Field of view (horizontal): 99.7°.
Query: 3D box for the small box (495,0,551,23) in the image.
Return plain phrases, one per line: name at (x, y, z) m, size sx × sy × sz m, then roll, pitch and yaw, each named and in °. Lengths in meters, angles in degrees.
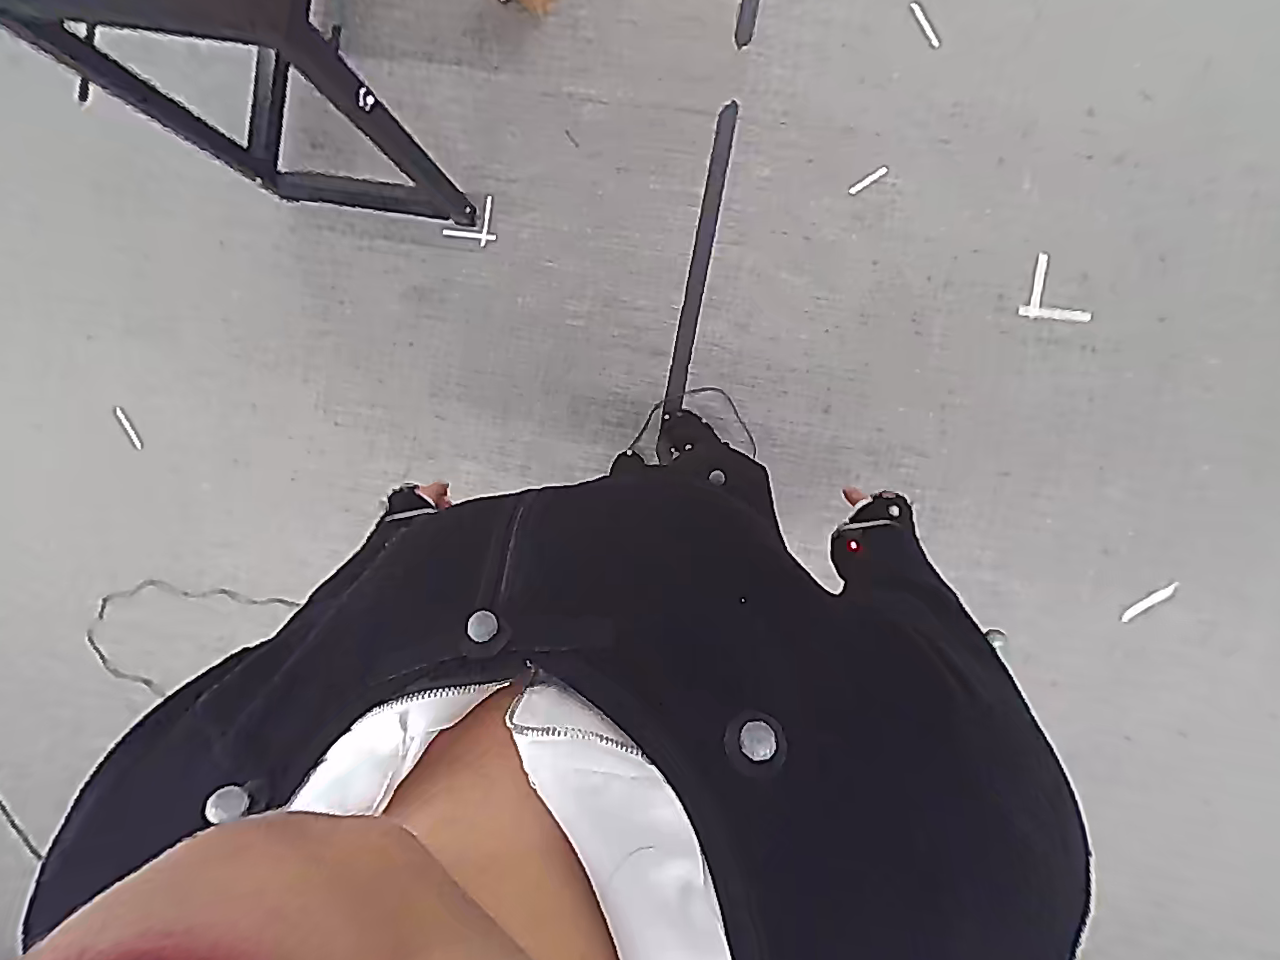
small box at (-0.304, -1.329, 1.363) m, size 0.168 × 0.176 × 0.179 m, roll 31°, pitch 97°, yaw 3°
